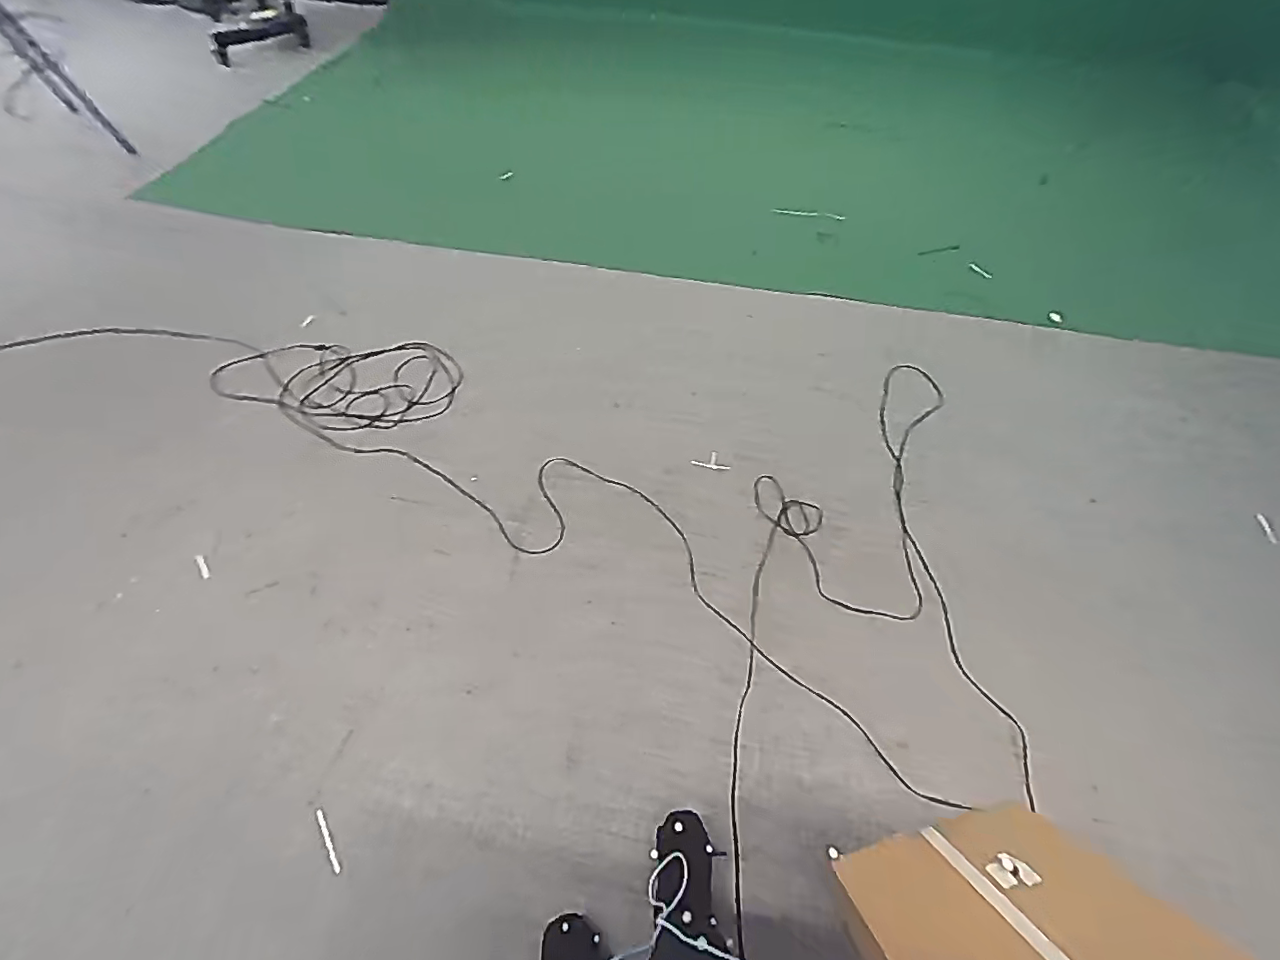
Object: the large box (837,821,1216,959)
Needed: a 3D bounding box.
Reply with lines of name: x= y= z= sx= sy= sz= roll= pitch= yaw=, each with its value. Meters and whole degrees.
large box: x=0.491 y=0.692 z=0.622 sx=0.320 sy=0.408 sz=0.320 roll=-15 pitch=84 yaw=-2
